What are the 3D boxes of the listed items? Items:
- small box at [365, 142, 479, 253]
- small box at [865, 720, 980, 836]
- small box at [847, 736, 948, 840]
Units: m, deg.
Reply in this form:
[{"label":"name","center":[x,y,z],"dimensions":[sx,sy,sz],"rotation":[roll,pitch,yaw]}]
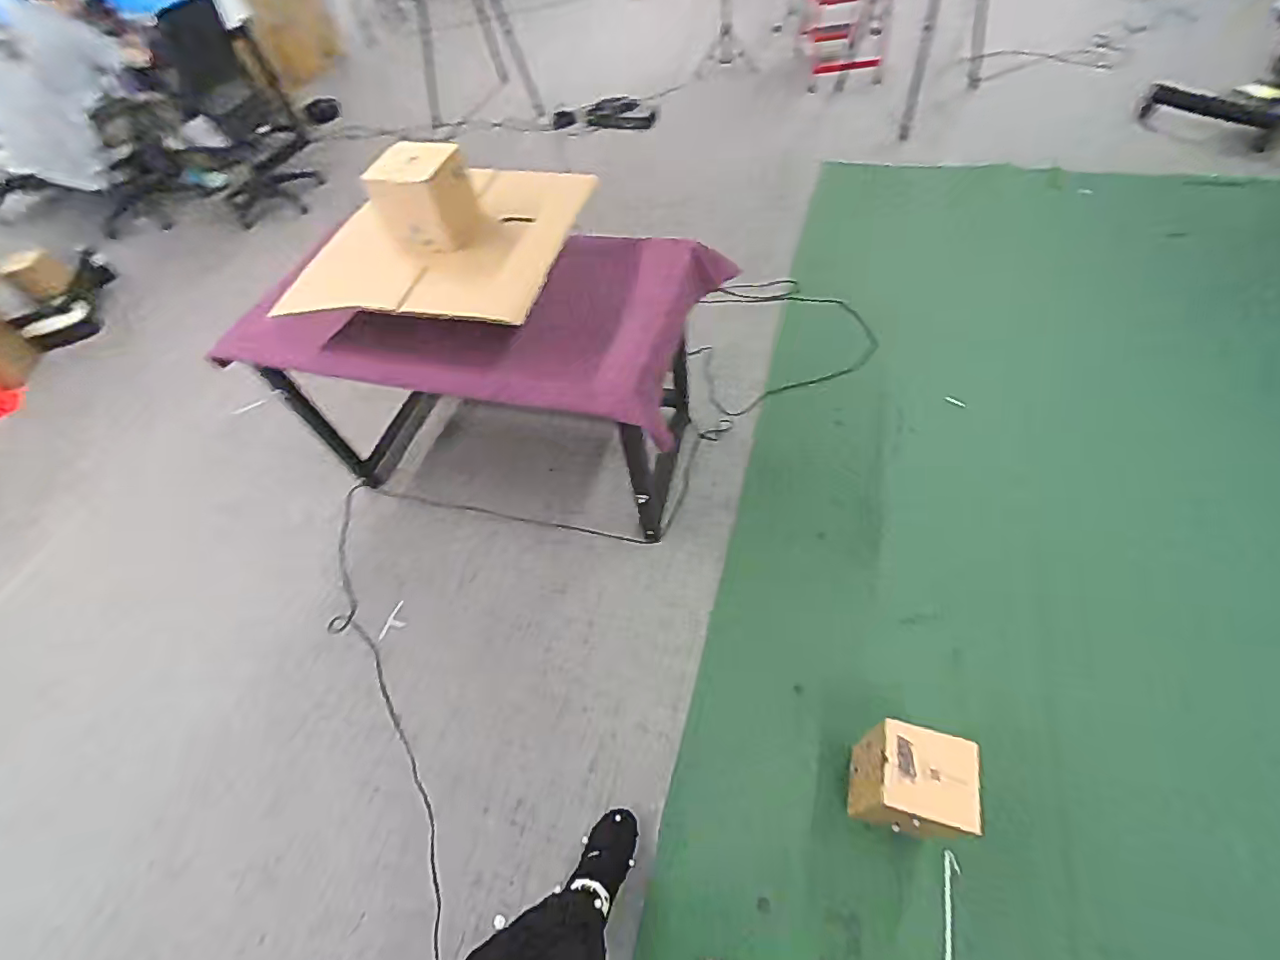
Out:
[{"label":"small box","center":[-0.505,-0.671,1.287],"dimensions":[0.168,0.176,0.179],"rotation":[10,57,12]},{"label":"small box","center":[0.585,0.629,1.136],"dimensions":[0.179,0.176,0.168],"rotation":[11,57,15]},{"label":"small box","center":[0.601,0.724,1.269],"dimensions":[0.179,0.176,0.168],"rotation":[11,57,15]}]
